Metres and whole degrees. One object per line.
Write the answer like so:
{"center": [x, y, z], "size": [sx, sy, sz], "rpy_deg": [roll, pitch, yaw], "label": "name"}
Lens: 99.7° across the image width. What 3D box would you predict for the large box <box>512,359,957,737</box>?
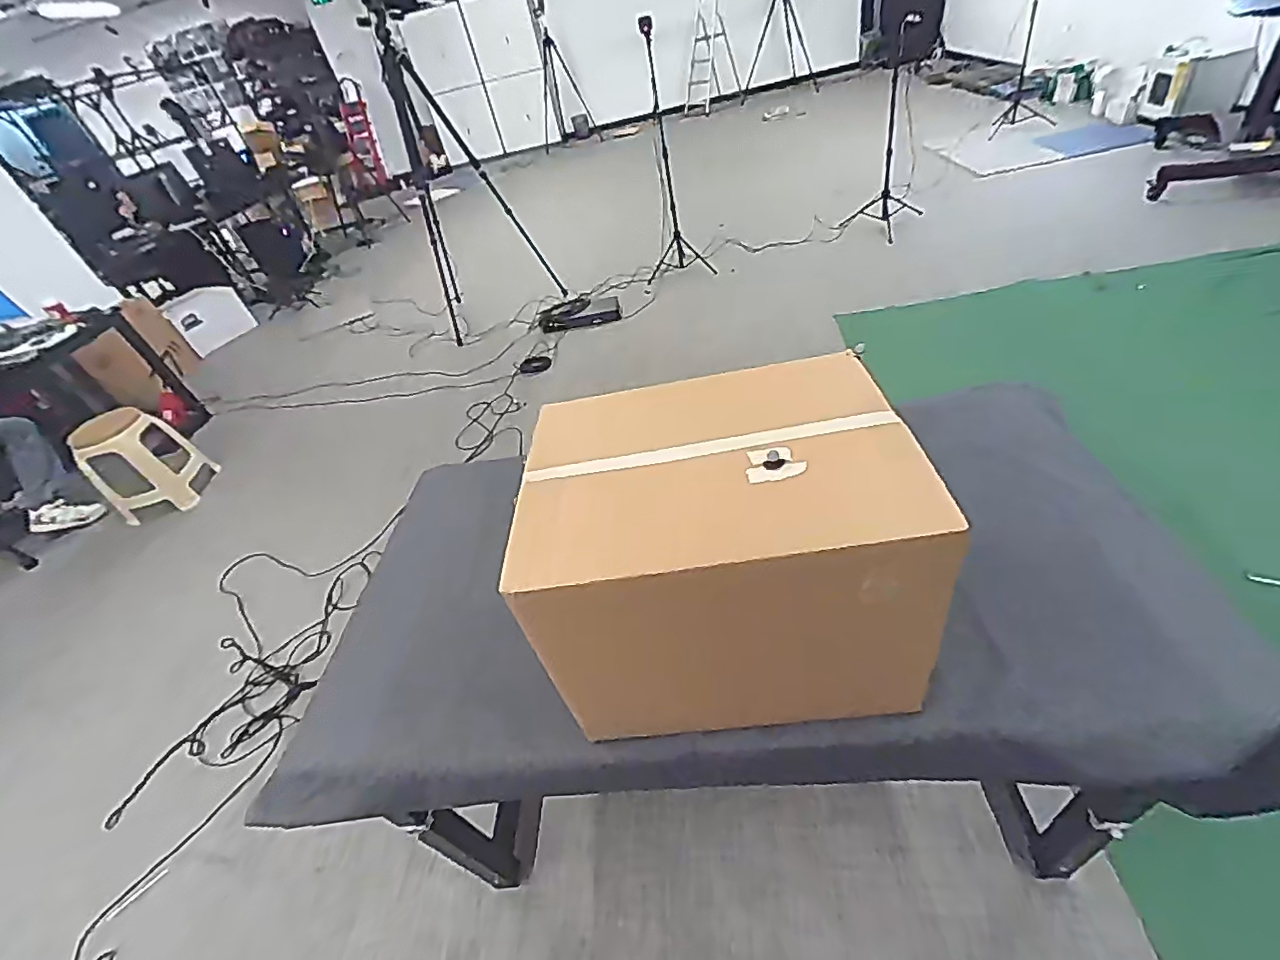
{"center": [0.099, 0.087, 0.681], "size": [0.408, 0.320, 0.320], "rpy_deg": [-9, 40, 6], "label": "large box"}
